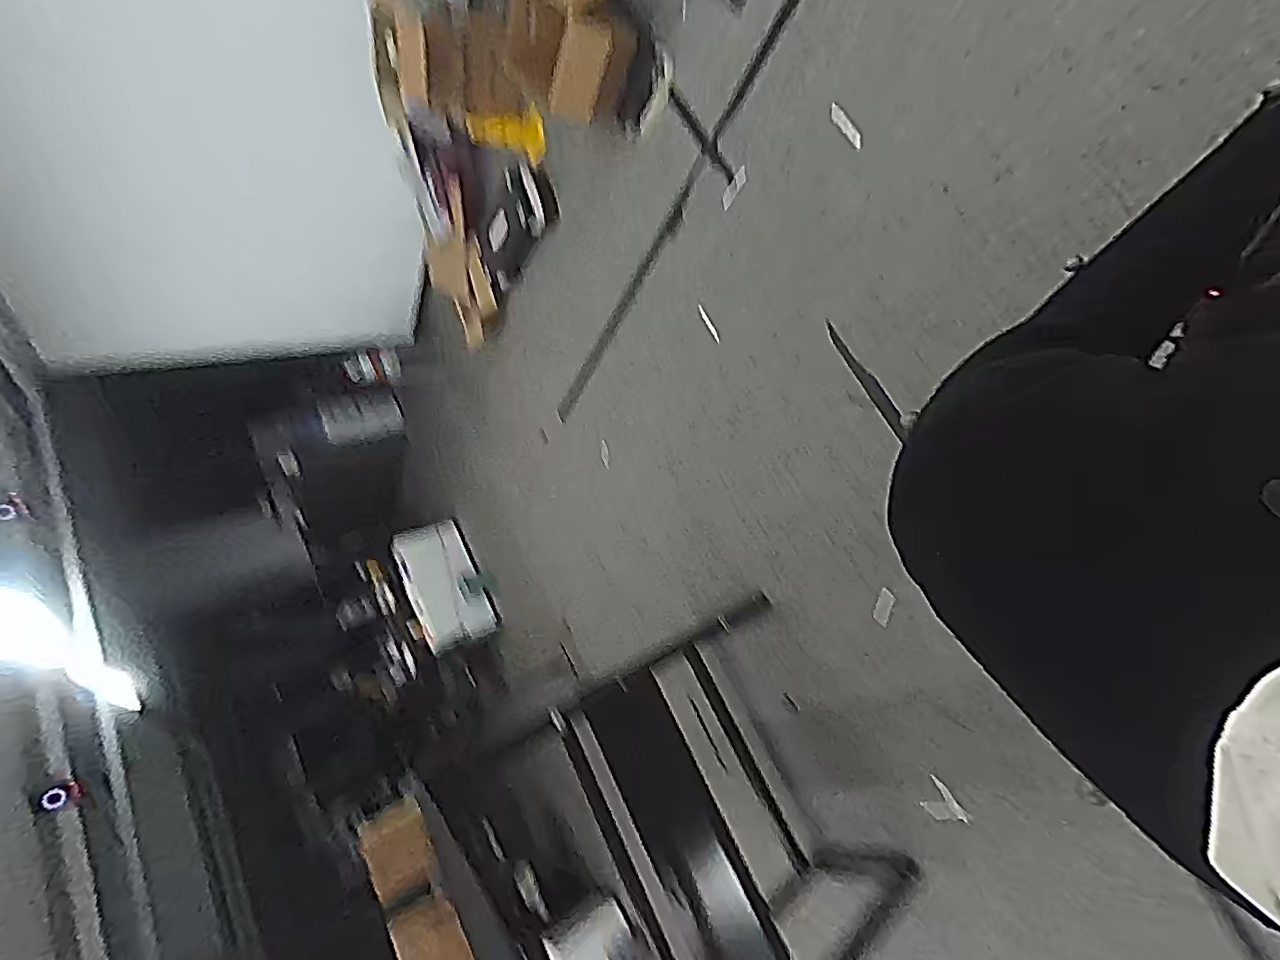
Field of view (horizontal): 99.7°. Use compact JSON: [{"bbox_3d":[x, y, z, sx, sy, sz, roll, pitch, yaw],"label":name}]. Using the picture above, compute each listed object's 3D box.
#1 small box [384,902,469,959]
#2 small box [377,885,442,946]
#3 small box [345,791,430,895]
[{"bbox_3d":[-0.560,1.269,1.436,0.168,0.176,0.179,62,145,14],"label":"small box"},{"bbox_3d":[-0.681,1.371,1.636,0.168,0.176,0.179,62,143,14],"label":"small box"},{"bbox_3d":[-0.694,0.988,1.488,0.168,0.176,0.179,63,147,12],"label":"small box"}]
